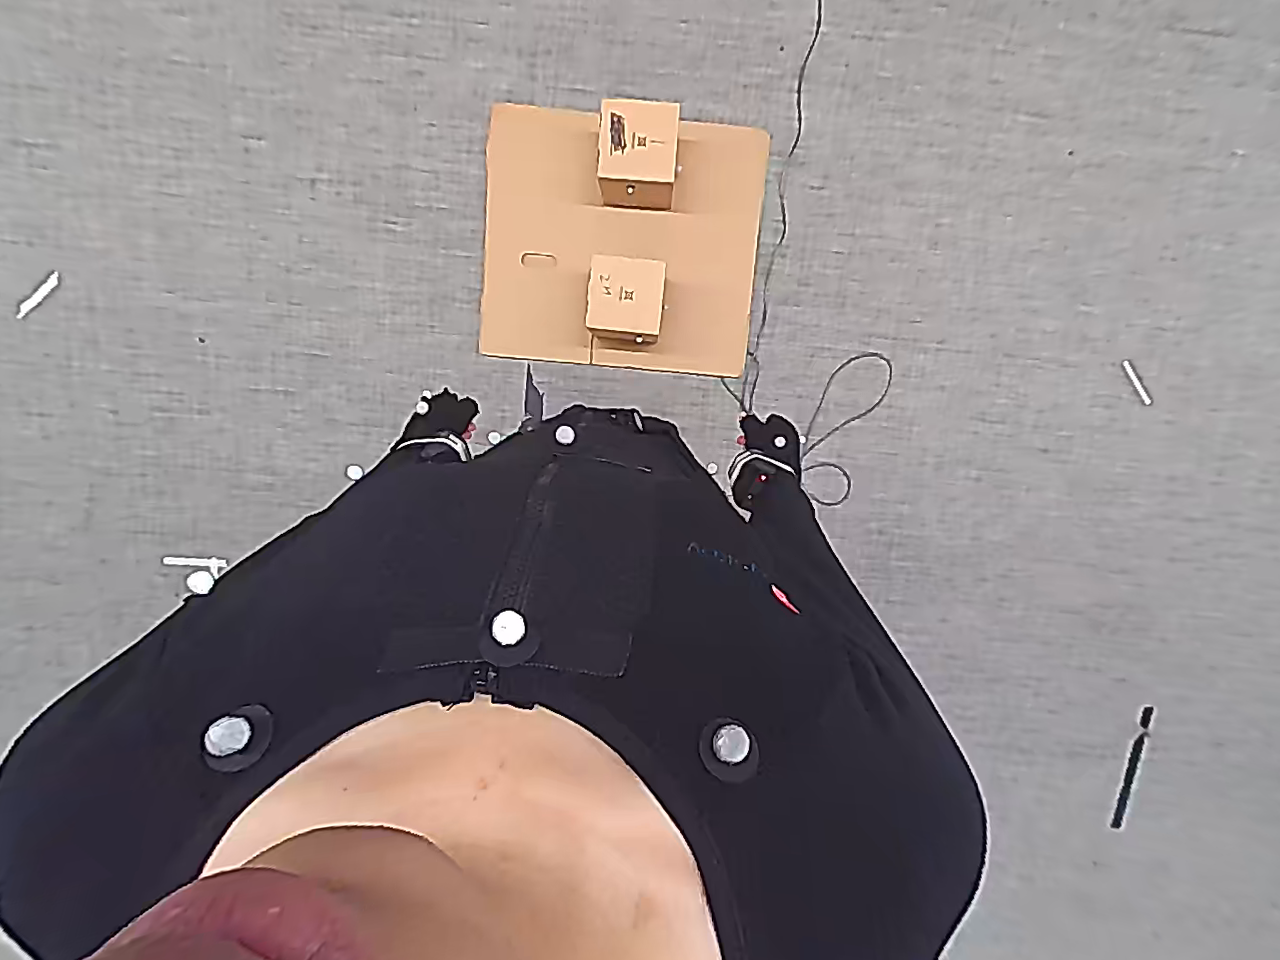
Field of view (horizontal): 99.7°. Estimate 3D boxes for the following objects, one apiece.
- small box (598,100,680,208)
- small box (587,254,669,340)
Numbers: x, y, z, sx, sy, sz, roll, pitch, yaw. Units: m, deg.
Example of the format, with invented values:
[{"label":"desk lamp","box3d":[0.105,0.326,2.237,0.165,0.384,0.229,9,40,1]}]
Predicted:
[{"label":"small box","box3d":[-0.001,-0.764,1.283,0.179,0.176,0.168,4,98,0]},{"label":"small box","box3d":[-0.027,-0.442,1.330,0.179,0.176,0.168,7,98,1]}]
